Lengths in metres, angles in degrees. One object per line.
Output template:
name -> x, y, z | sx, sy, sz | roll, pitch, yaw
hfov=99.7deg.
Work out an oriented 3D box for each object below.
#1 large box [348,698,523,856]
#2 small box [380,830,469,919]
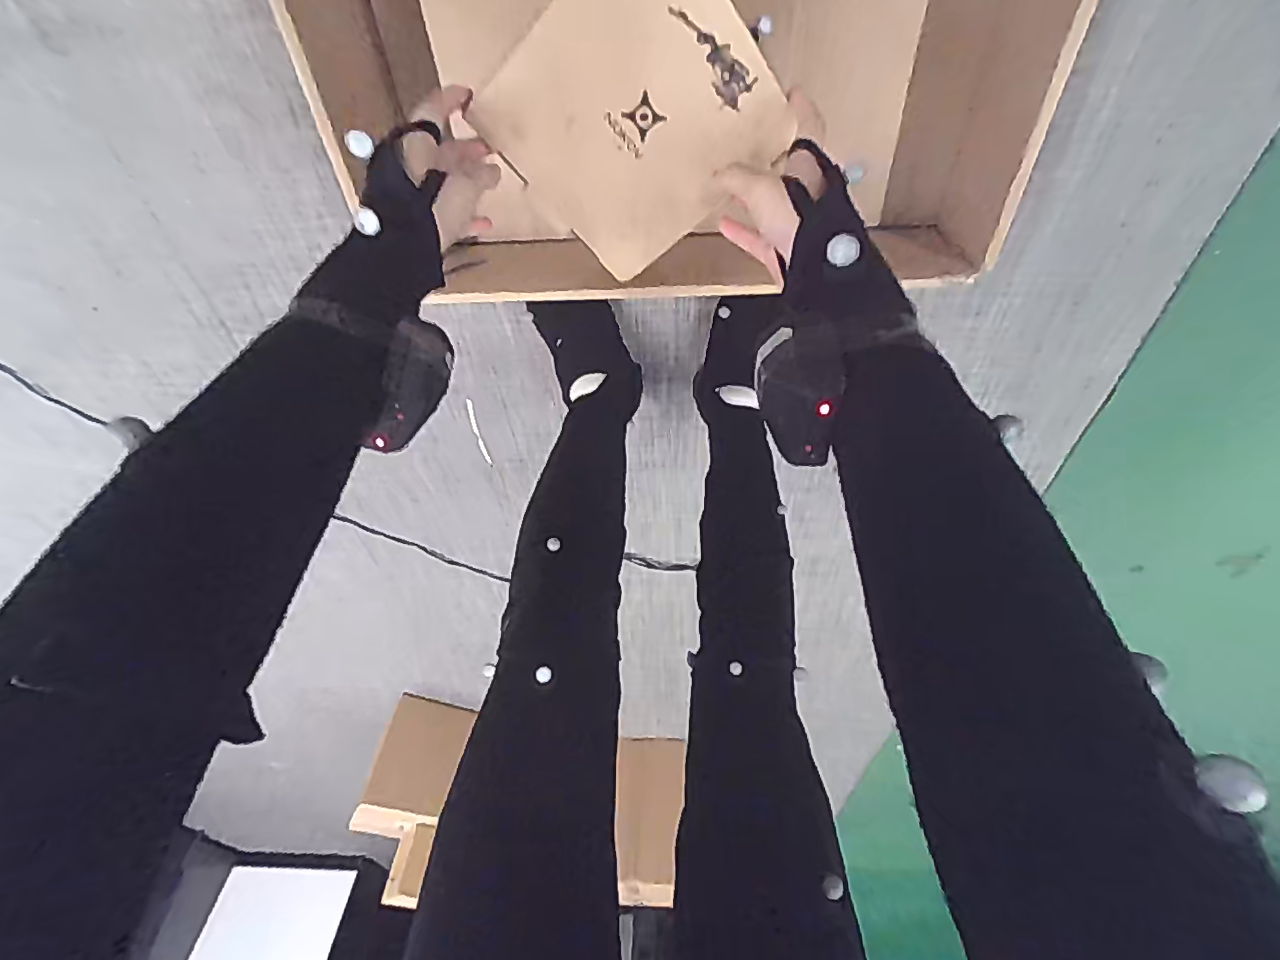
large box -> -0.629, 0.935, 1.697 | 0.408, 0.320, 0.320 | 23, 130, -15
small box -> -0.607, 1.121, 1.536 | 0.168, 0.176, 0.179 | 26, 130, -18
